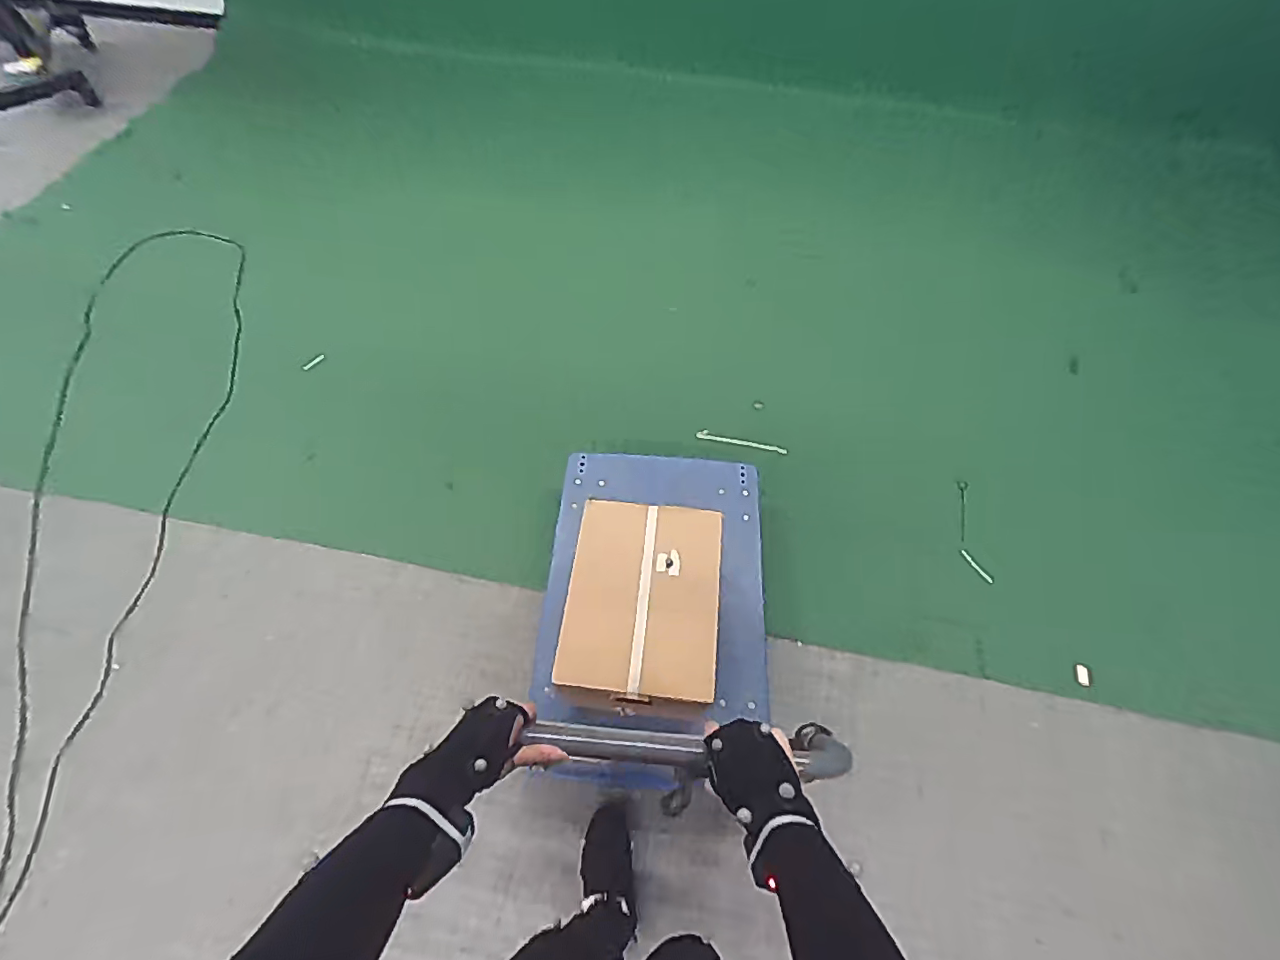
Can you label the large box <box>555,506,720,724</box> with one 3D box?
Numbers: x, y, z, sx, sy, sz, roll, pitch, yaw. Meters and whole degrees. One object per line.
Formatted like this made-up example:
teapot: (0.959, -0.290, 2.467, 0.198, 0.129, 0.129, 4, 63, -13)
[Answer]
large box: (0.009, 0.317, 1.251, 0.320, 0.320, 0.408, 6, 59, 3)
